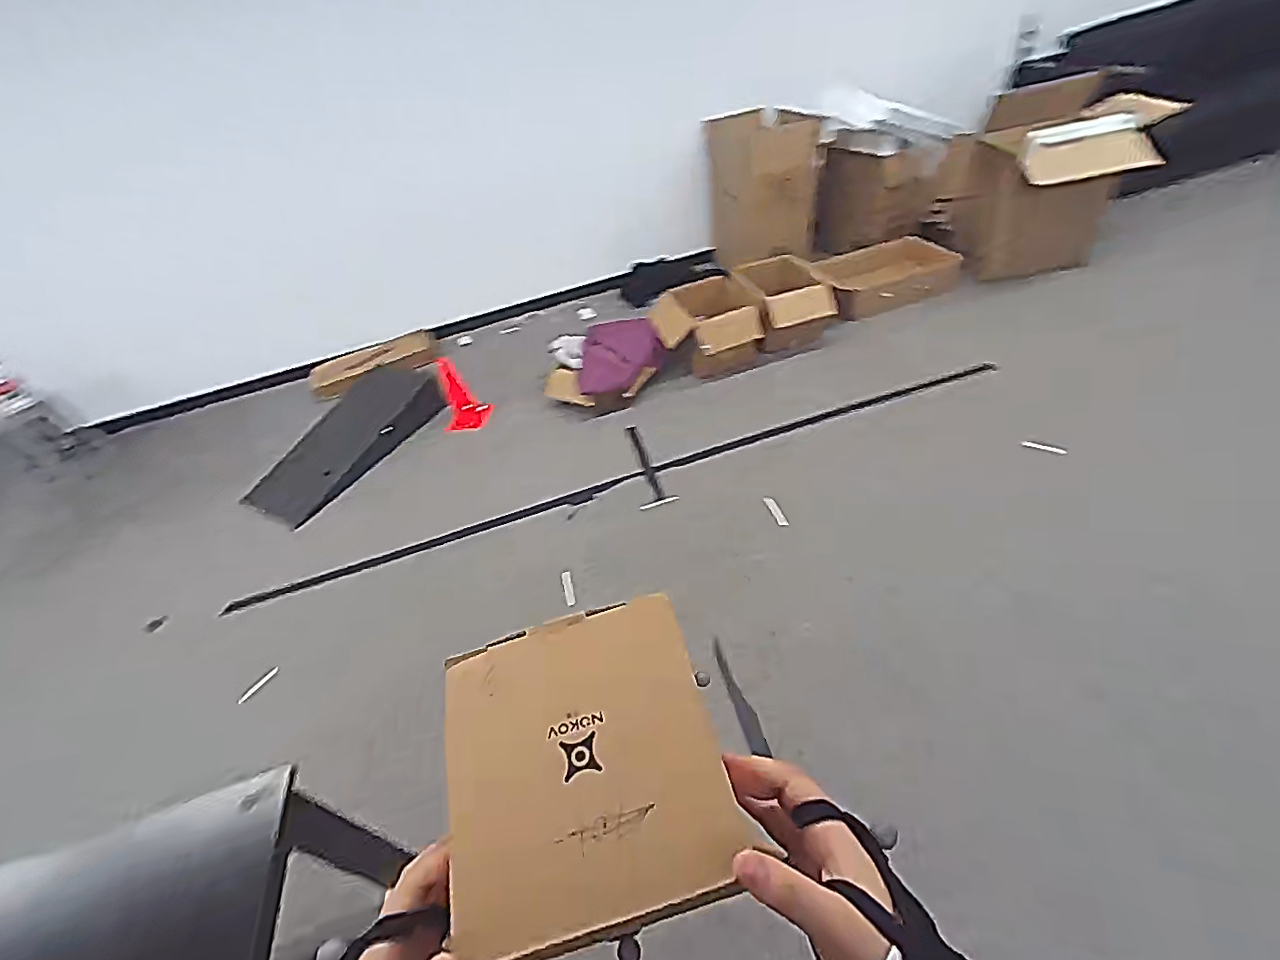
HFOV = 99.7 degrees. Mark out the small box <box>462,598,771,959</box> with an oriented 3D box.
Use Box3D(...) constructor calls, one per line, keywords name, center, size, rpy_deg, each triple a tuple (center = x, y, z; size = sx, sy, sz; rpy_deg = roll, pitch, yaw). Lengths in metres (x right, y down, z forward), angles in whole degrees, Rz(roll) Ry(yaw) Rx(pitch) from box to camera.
Box3D(name="small box", center=(-0.019, 0.218, 0.394), size=(0.168, 0.176, 0.179), rpy_deg=(-15, 51, -3))
